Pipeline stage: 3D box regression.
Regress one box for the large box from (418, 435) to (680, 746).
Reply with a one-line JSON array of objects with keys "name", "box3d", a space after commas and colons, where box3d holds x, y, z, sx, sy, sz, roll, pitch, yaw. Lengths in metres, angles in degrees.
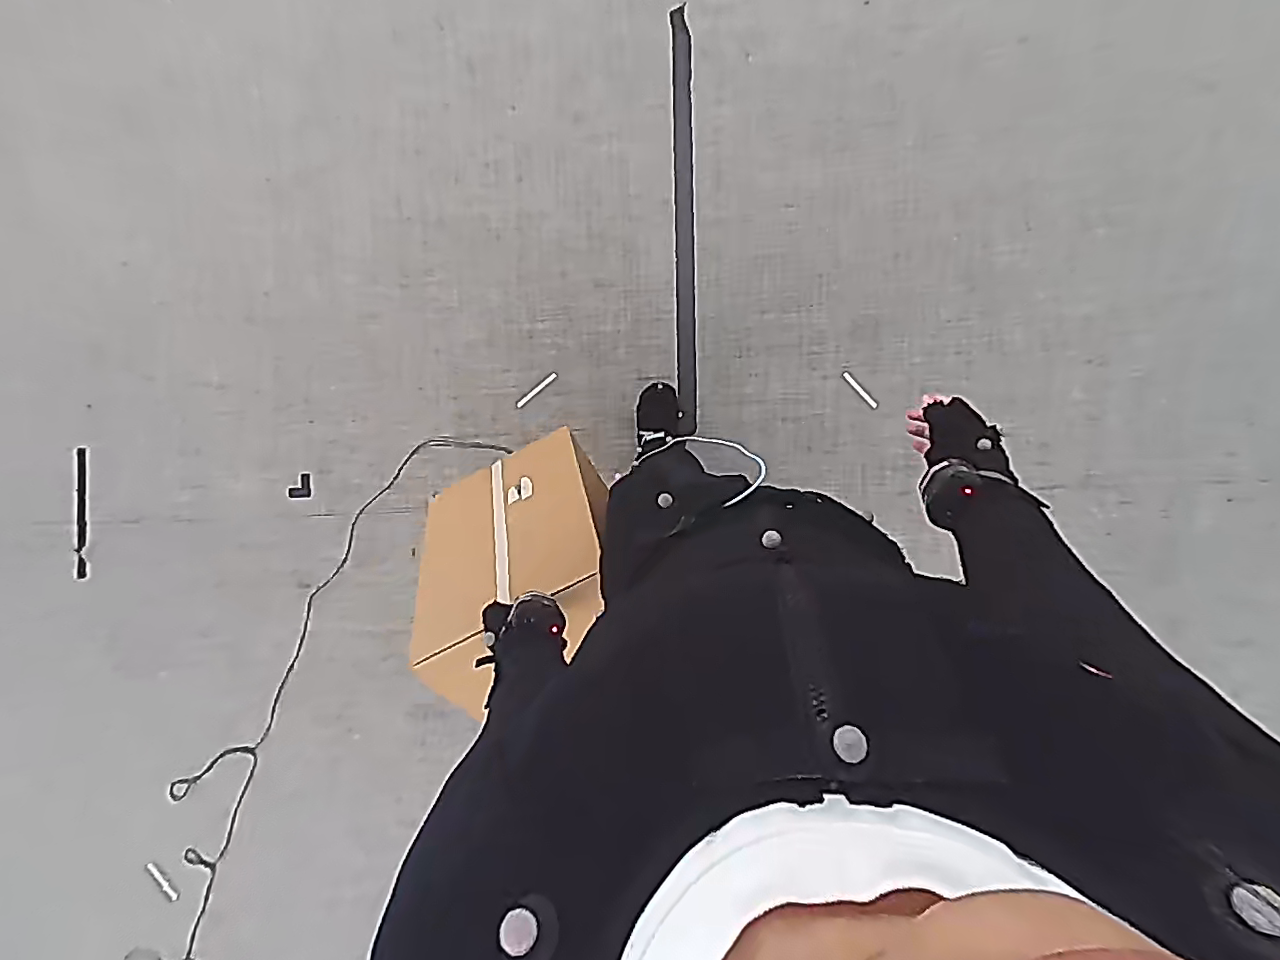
[{"name": "large box", "box3d": [-0.167, 0.190, 1.004, 0.320, 0.408, 0.320, -27, 126, 4]}]
